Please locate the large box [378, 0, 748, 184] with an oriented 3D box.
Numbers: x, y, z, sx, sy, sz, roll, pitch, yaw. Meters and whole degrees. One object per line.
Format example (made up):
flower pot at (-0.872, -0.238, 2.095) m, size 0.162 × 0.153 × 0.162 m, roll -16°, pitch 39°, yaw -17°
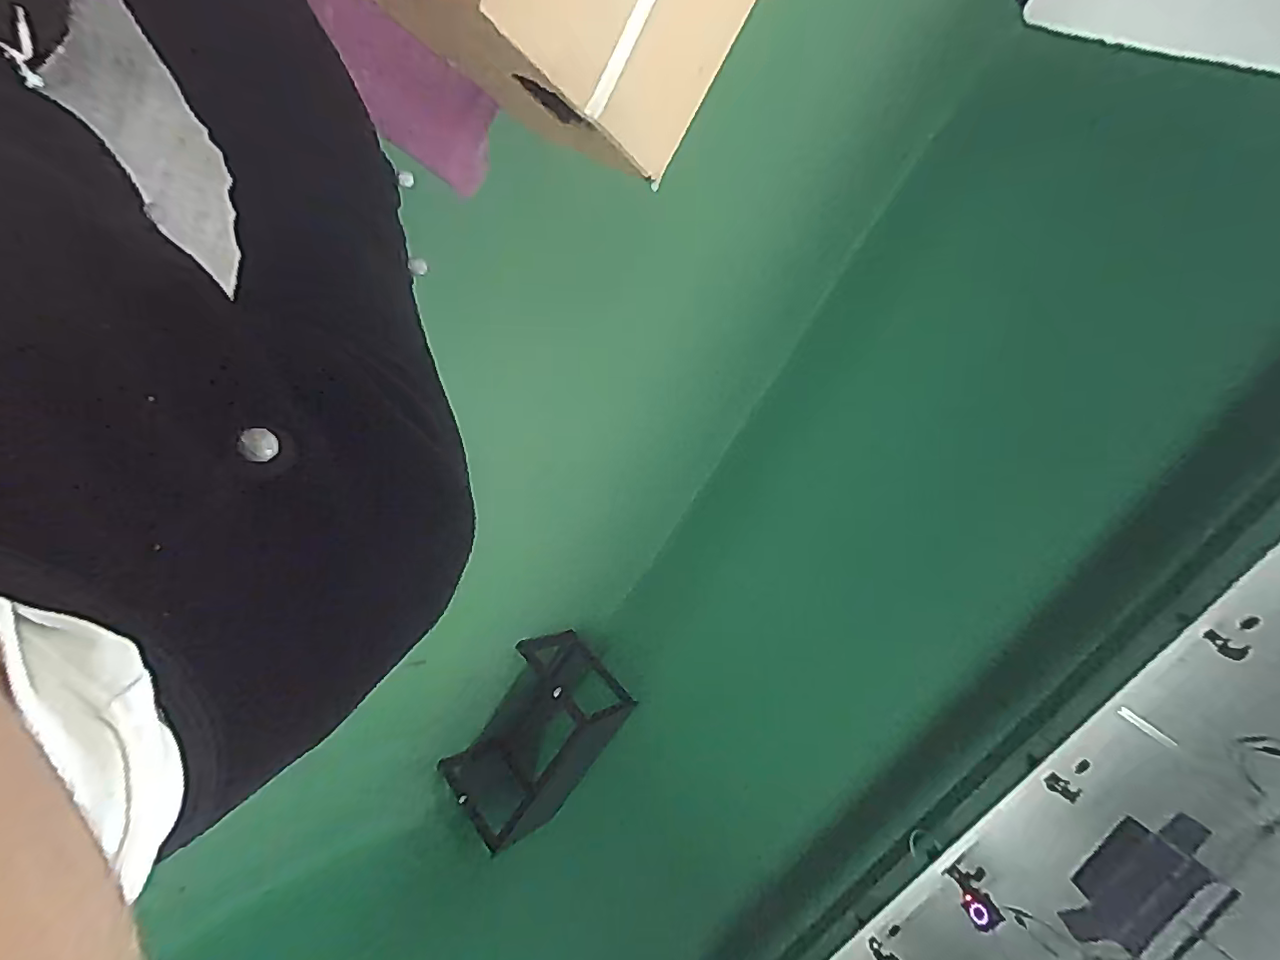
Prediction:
large box at (-0.067, -0.661, 0.632) m, size 0.320 × 0.320 × 0.408 m, roll 7°, pitch 120°, yaw -56°
